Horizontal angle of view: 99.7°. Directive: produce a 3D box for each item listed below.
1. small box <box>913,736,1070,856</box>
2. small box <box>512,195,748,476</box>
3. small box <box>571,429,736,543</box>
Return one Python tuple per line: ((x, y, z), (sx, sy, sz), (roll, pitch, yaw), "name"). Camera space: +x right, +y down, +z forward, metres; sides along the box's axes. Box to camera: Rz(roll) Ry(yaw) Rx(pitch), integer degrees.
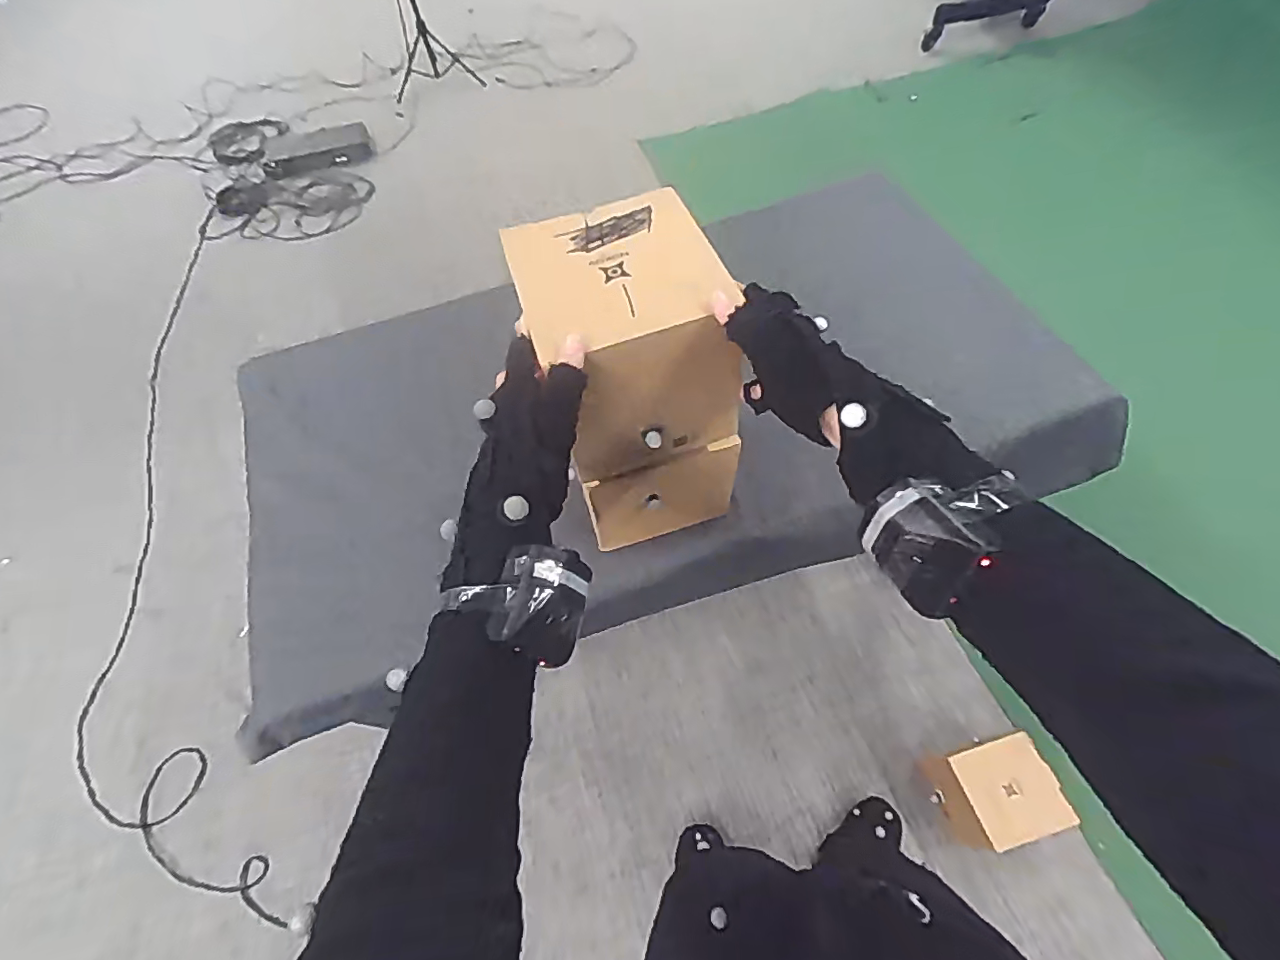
((0.699, 0.636, 1.099), (0.179, 0.176, 0.168), (-16, 60, -4), "small box")
((-0.011, -0.133, 0.519), (0.168, 0.176, 0.179), (-17, 58, -4), "small box")
((0.007, -0.041, 0.681), (0.179, 0.176, 0.168), (-16, 60, -6), "small box")
